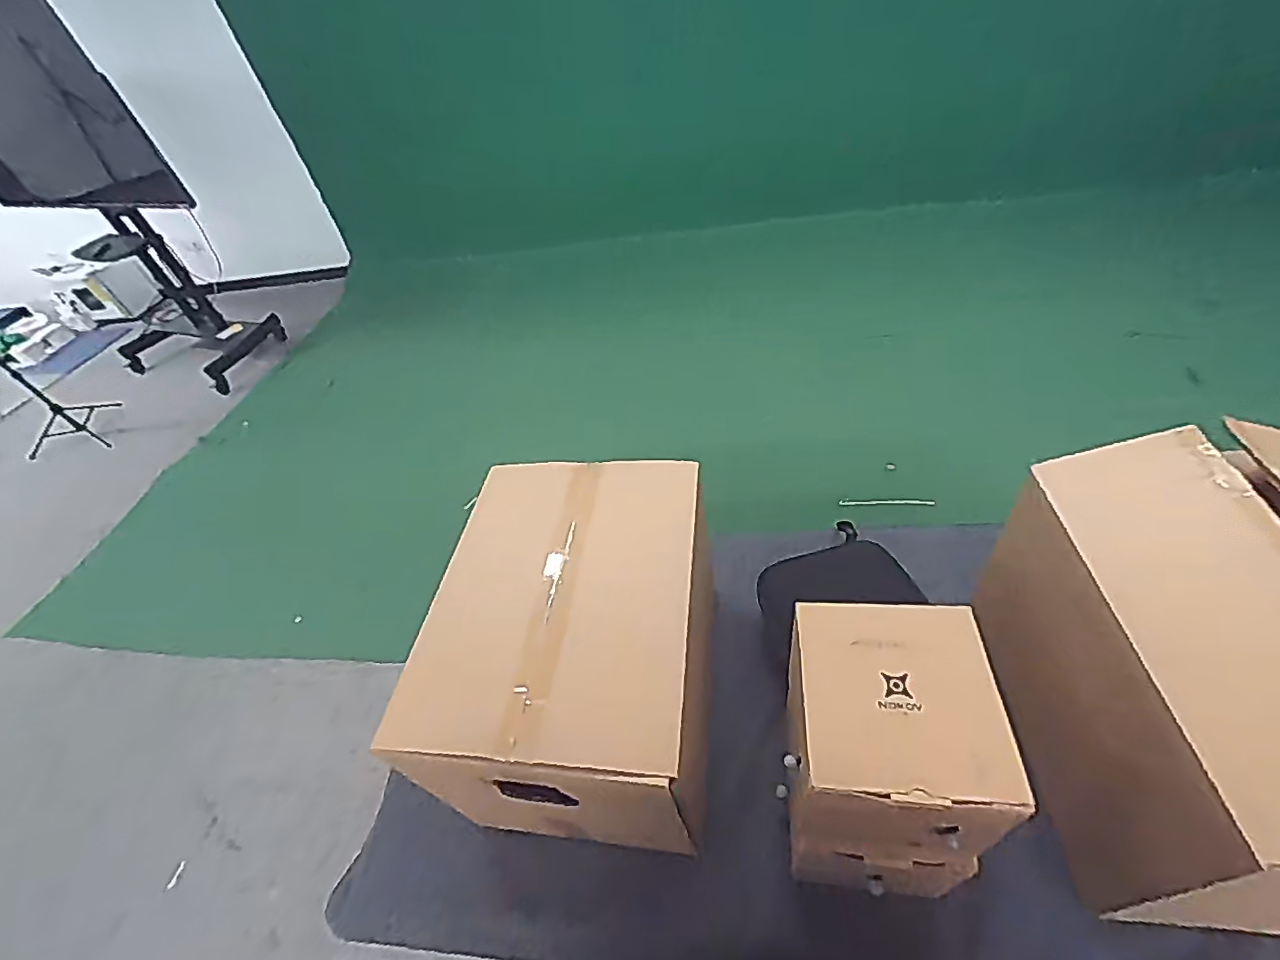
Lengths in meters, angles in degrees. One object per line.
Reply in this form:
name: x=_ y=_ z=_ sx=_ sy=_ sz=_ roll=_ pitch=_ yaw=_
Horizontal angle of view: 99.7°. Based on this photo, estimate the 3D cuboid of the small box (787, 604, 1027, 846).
small box: x=0.240 y=0.246 z=0.543 sx=0.168 sy=0.176 sz=0.179 roll=-1 pitch=45 yaw=10
